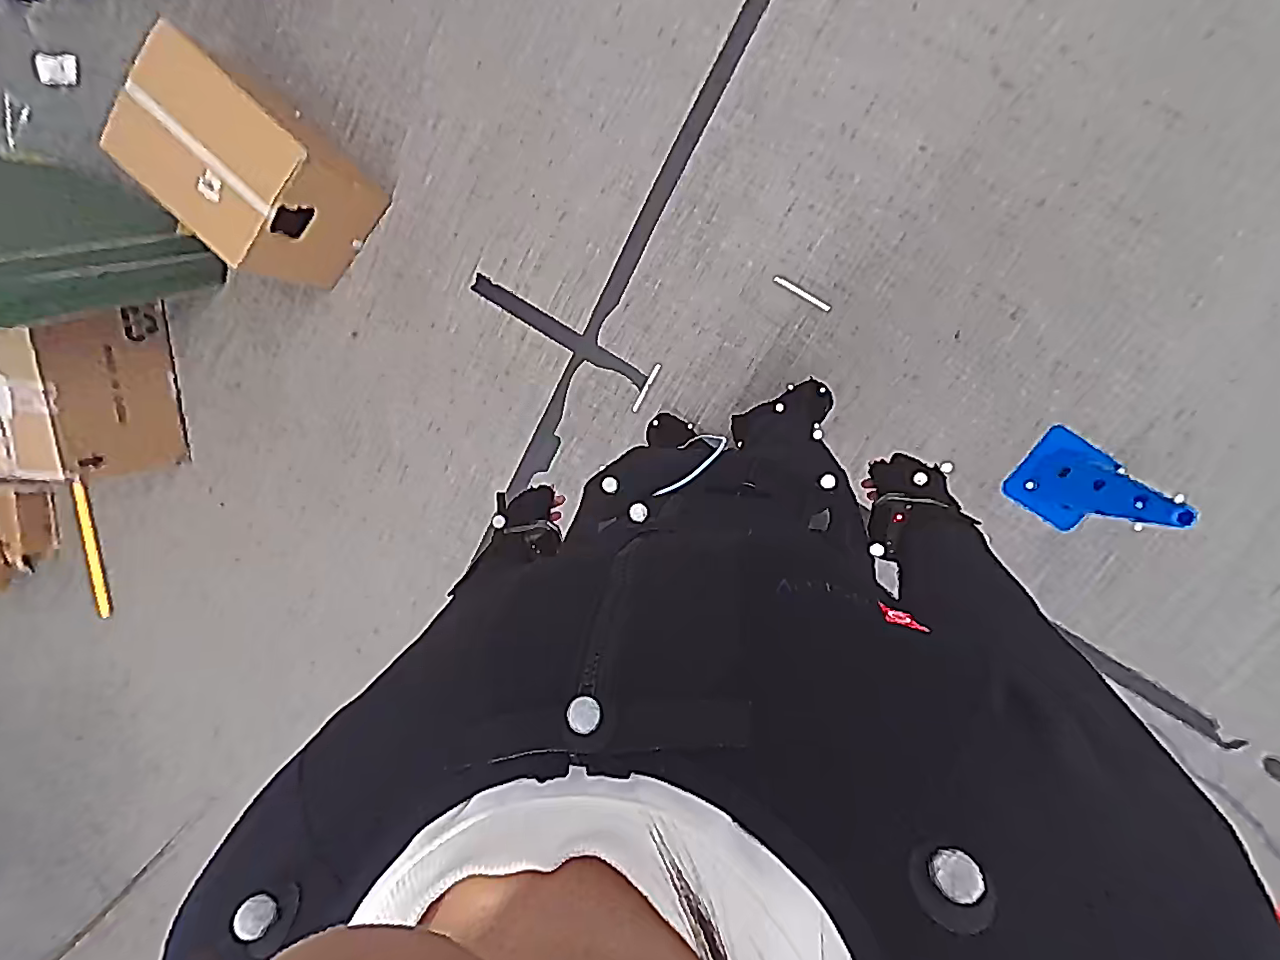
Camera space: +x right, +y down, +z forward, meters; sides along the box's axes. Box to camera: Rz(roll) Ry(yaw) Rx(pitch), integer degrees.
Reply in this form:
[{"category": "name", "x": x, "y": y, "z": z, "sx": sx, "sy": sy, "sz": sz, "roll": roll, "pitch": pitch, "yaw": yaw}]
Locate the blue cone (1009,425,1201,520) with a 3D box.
[{"category": "blue cone", "x": 0.984, "y": 0.014, "z": 1.131, "sx": 0.193, "sy": 0.380, "sz": 0.192, "roll": 35, "pitch": 103, "yaw": 1}]
